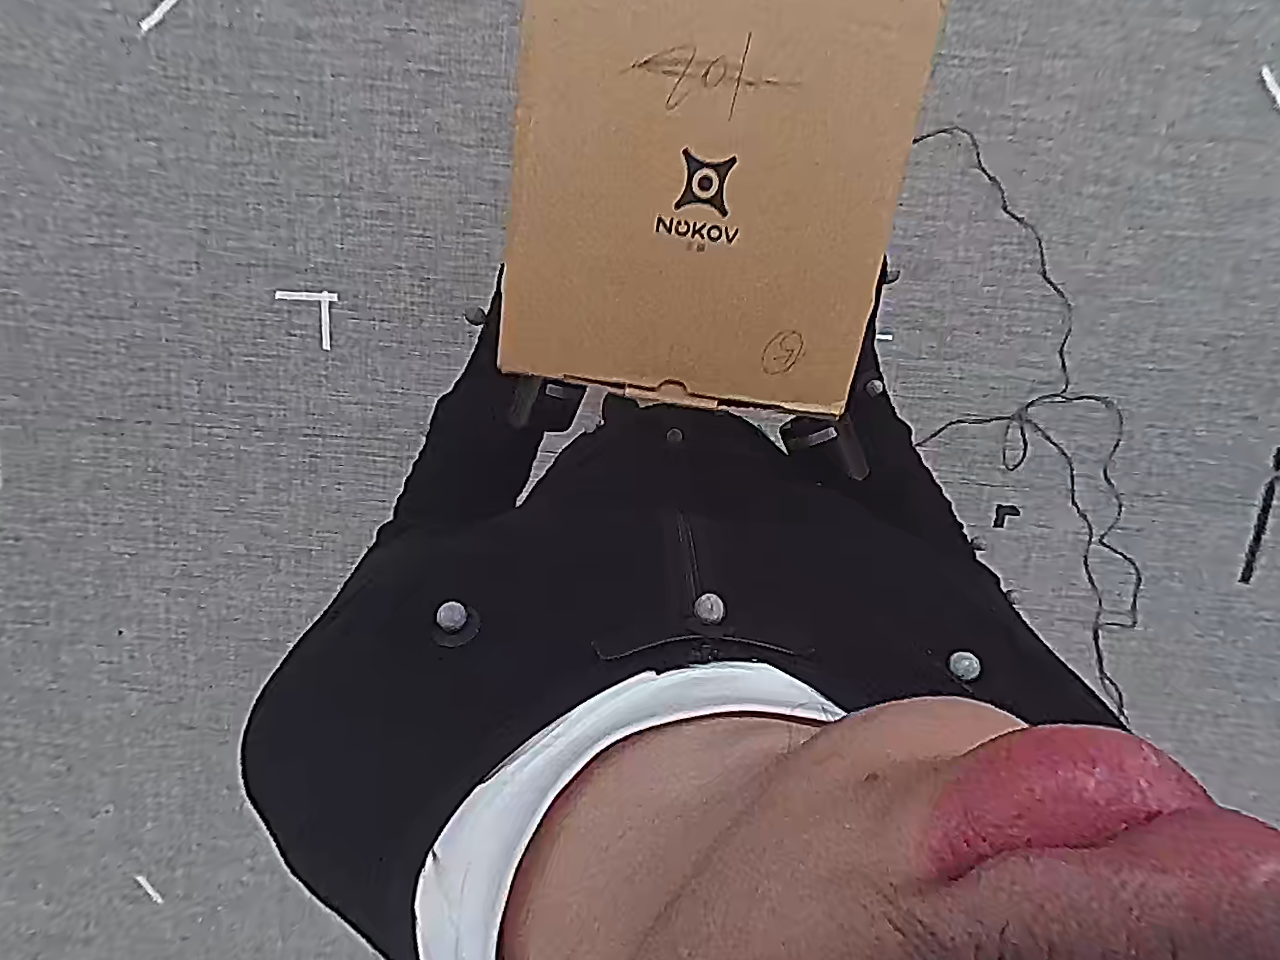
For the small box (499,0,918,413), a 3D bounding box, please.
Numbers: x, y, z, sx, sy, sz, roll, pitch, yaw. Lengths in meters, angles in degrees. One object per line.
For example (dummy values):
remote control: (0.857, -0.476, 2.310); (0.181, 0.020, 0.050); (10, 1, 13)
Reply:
small box: (0.023, -0.149, 0.319); (0.168, 0.176, 0.179); (7, 106, -3)
